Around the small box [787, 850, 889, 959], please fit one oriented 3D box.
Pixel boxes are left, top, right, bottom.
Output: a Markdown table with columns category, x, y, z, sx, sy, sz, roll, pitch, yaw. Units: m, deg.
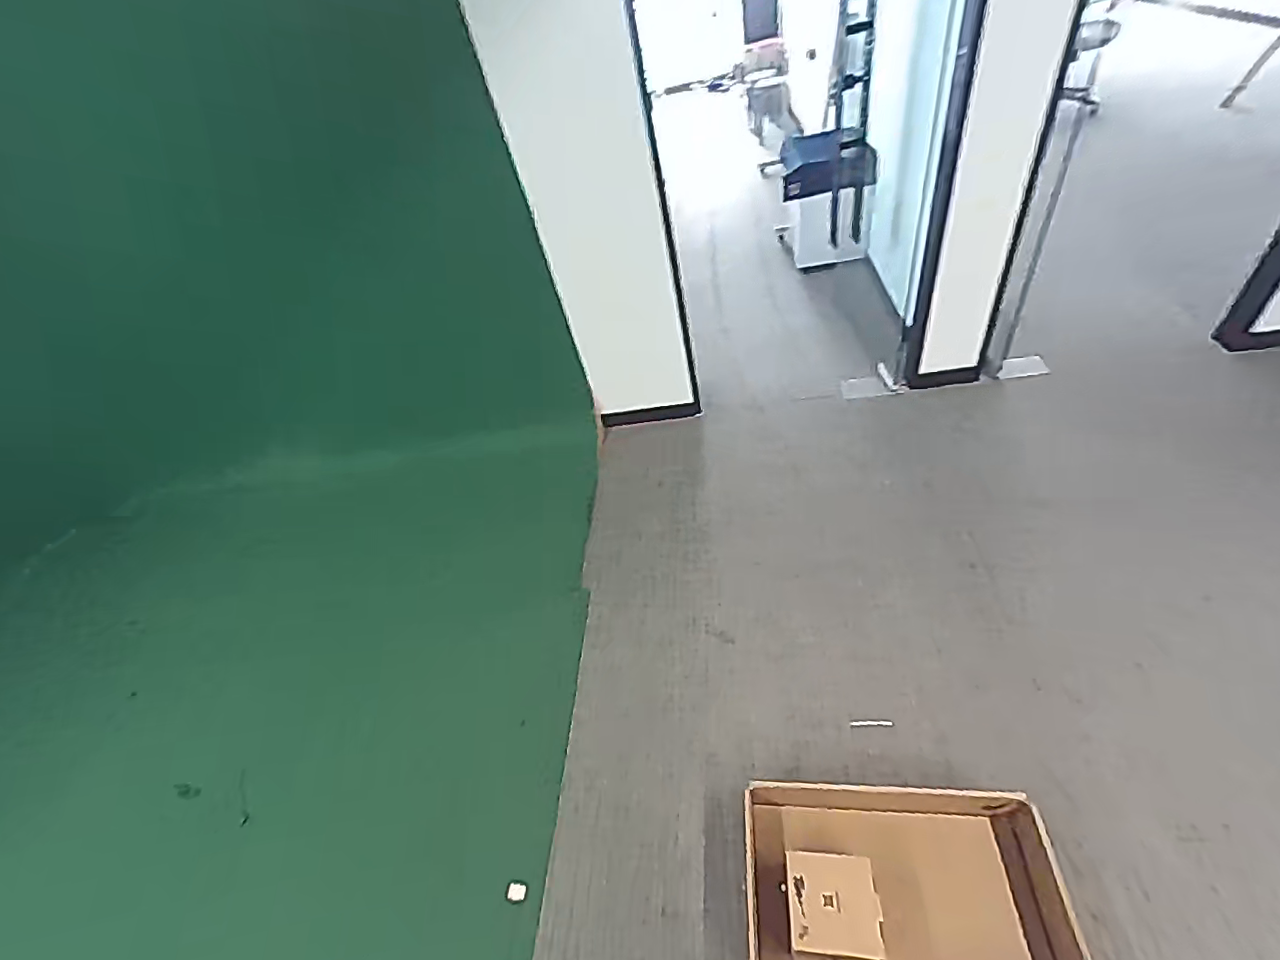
| category | x | y | z | sx | sy | sz | roll | pitch | yaw |
| --- | --- | --- | --- | --- | --- | --- | --- | --- | --- |
| small box | 0.407 | 0.904 | 1.142 | 0.179 | 0.176 | 0.168 | -2 | 45 | 12 |
